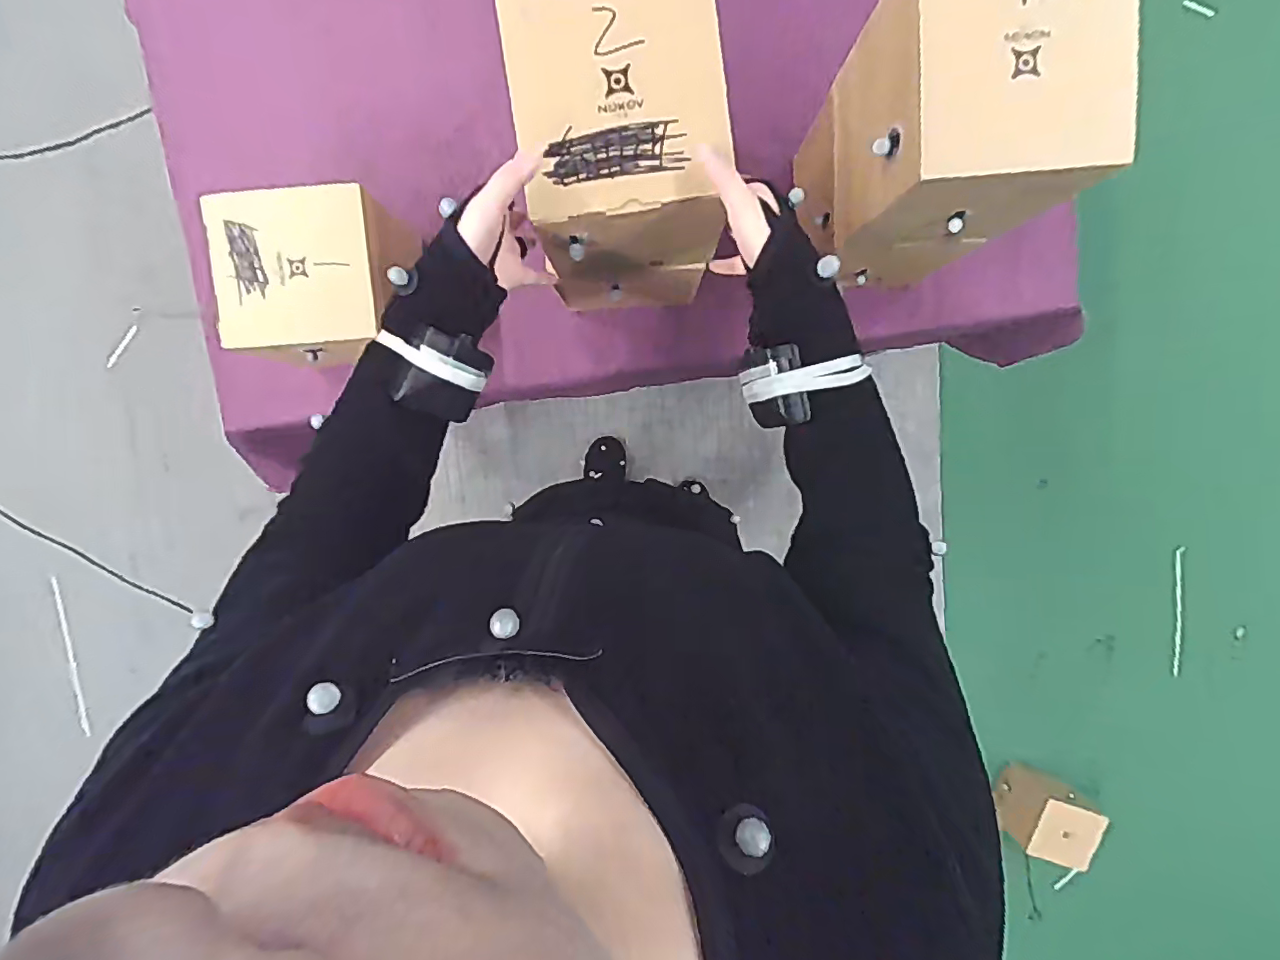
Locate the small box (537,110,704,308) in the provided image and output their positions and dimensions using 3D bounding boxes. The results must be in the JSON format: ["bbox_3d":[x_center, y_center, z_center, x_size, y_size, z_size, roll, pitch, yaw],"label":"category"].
[{"bbox_3d":[-0.018,-0.314,0.662,0.179,0.176,0.168,-3,95,1],"label":"small box"}]

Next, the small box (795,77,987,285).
[{"bbox_3d":[0.291,-0.350,0.658,0.168,0.176,0.179,-3,96,1],"label":"small box"}]

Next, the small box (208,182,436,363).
[{"bbox_3d":[-0.376,-0.242,0.670,0.179,0.176,0.168,-4,95,0],"label":"small box"}]

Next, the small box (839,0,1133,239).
[{"bbox_3d":[0.292,-0.334,0.493,0.168,0.176,0.179,-4,96,0],"label":"small box"}]

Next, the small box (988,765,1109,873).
[{"bbox_3d":[1.125,0.932,1.504,0.179,0.176,0.168,19,95,-2],"label":"small box"}]
